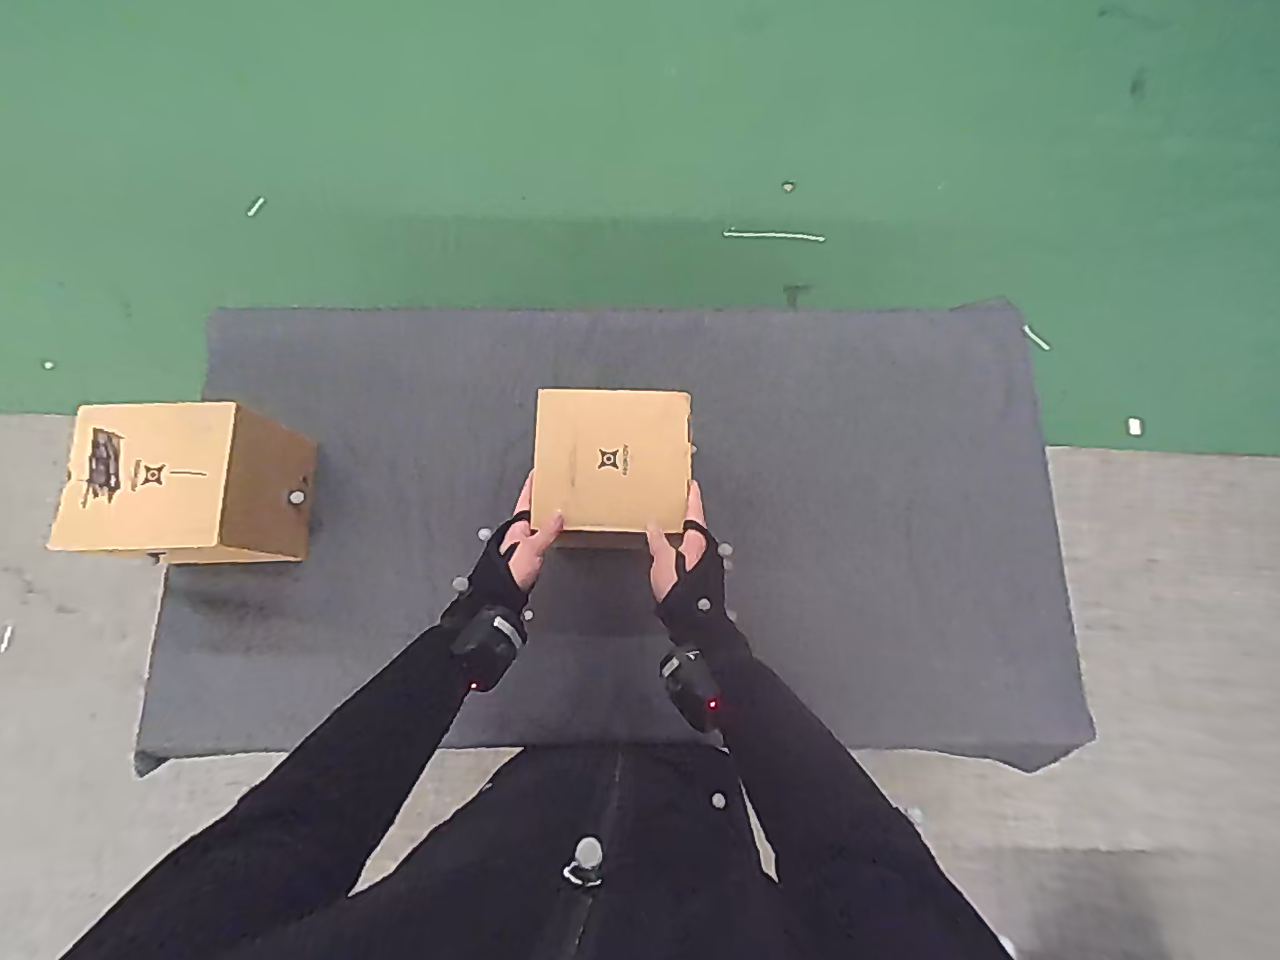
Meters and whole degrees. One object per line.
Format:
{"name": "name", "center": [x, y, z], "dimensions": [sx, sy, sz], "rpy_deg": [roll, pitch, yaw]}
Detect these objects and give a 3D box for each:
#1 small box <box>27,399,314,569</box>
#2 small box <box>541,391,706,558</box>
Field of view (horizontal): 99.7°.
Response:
{"name": "small box", "center": [-0.522, 0.014, 0.632], "dimensions": [0.179, 0.176, 0.168], "rpy_deg": [-1, 76, -5]}
{"name": "small box", "center": [-0.019, 0.002, 0.666], "dimensions": [0.179, 0.176, 0.168], "rpy_deg": [1, 75, -2]}
